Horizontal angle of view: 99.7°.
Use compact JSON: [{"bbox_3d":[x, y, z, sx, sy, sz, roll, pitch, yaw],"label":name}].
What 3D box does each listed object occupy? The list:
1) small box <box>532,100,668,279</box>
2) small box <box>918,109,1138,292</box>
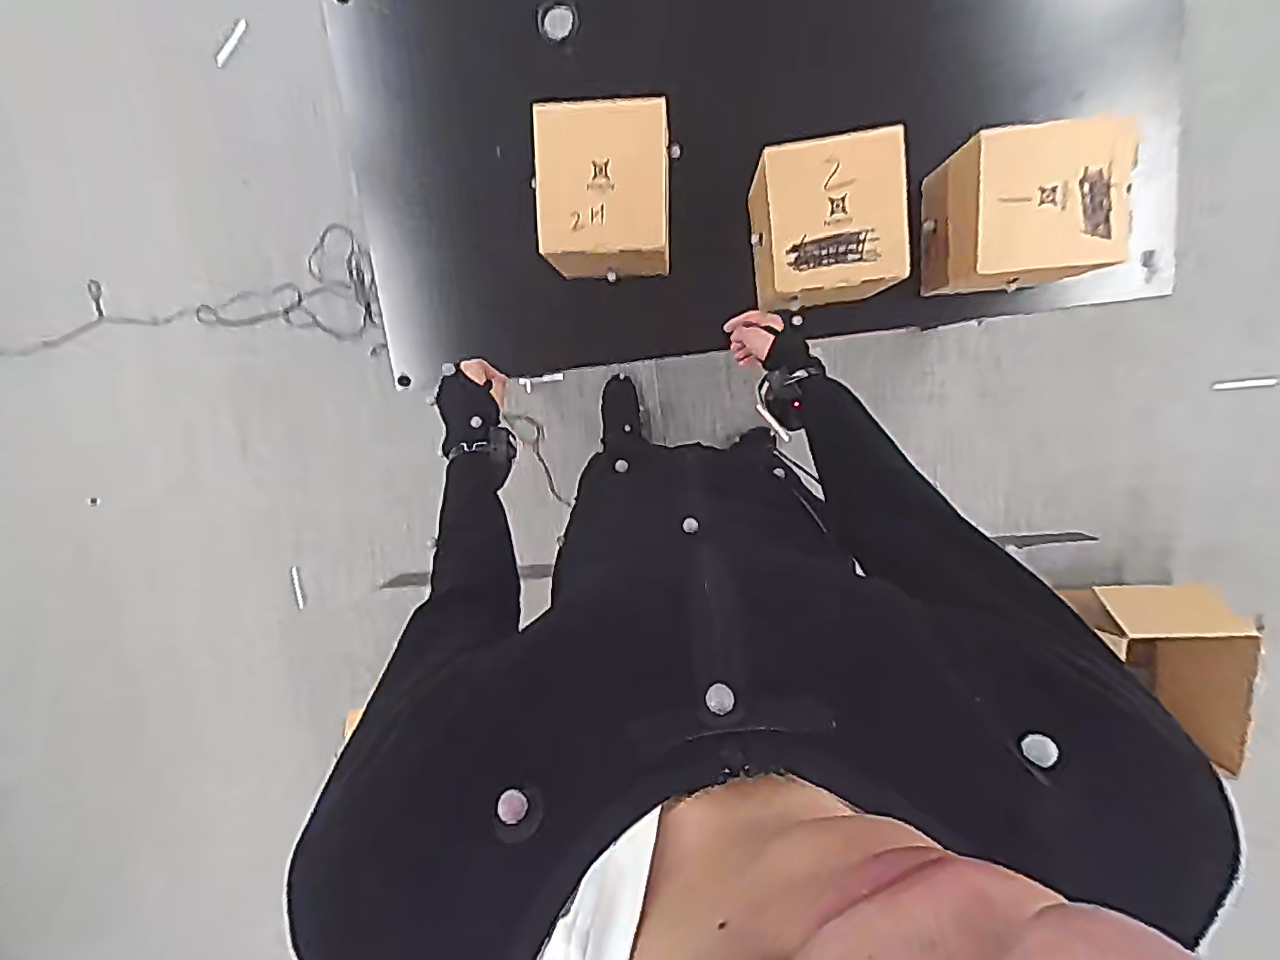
[{"bbox_3d":[-0.047,-0.389,0.751,0.168,0.176,0.179,0,100,5],"label":"small box"},{"bbox_3d":[0.495,-0.353,0.715,0.179,0.176,0.168,-4,99,7],"label":"small box"}]
